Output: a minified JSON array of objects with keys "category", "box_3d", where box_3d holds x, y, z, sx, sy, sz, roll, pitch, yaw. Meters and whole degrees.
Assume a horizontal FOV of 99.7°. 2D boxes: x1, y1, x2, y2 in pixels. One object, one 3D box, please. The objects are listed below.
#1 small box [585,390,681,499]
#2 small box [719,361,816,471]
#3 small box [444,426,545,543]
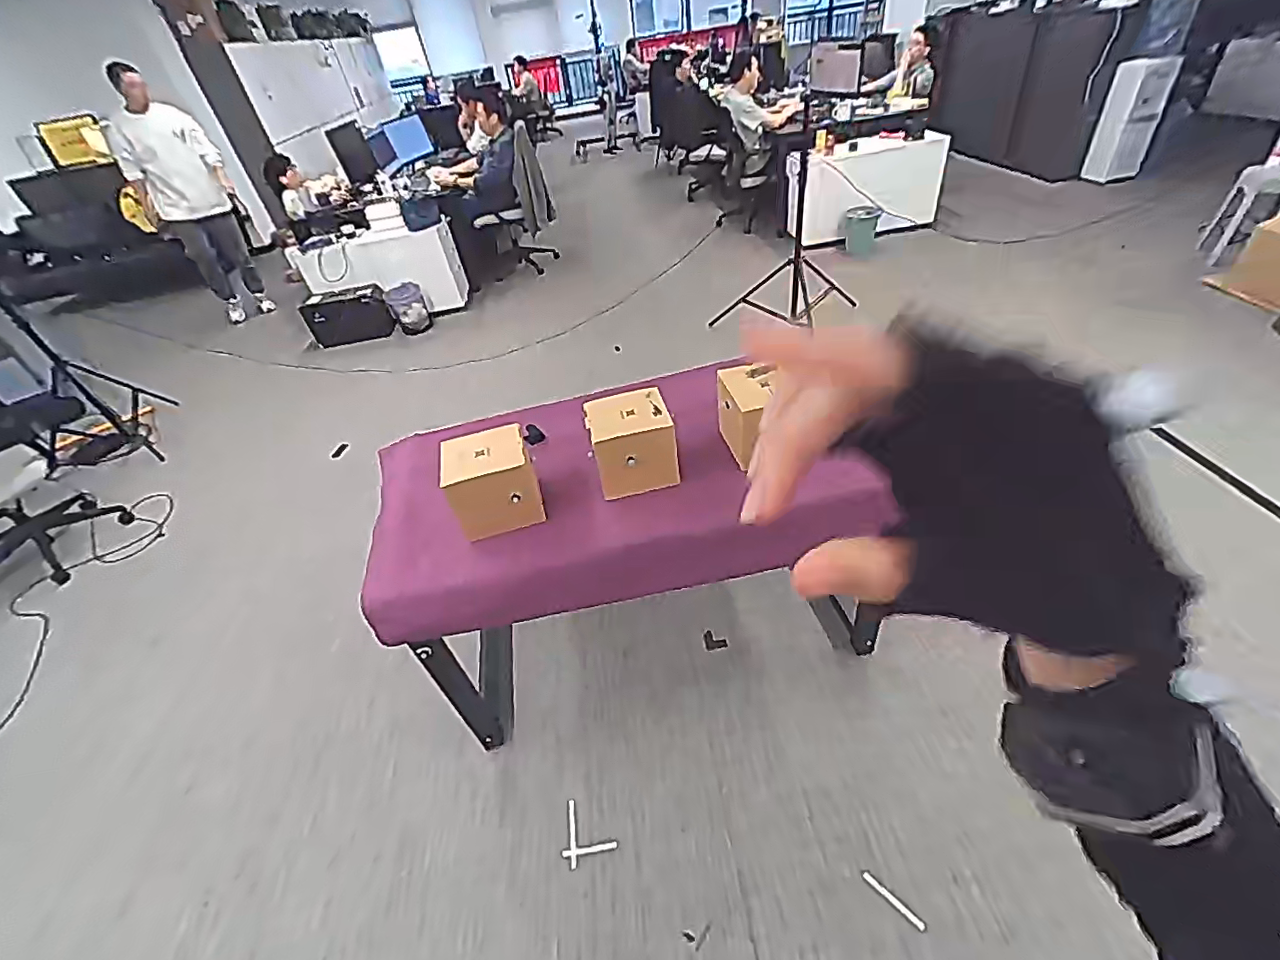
[{"category":"small box","box_3d":[-0.015,-0.078,1.232,0.179,0.176,0.168,-14,40,-3]},{"category":"small box","box_3d":[0.287,-0.148,1.248,0.168,0.176,0.179,-14,41,-3]},{"category":"small box","box_3d":[-0.316,0.011,1.193,0.179,0.176,0.168,-17,39,-7]}]
